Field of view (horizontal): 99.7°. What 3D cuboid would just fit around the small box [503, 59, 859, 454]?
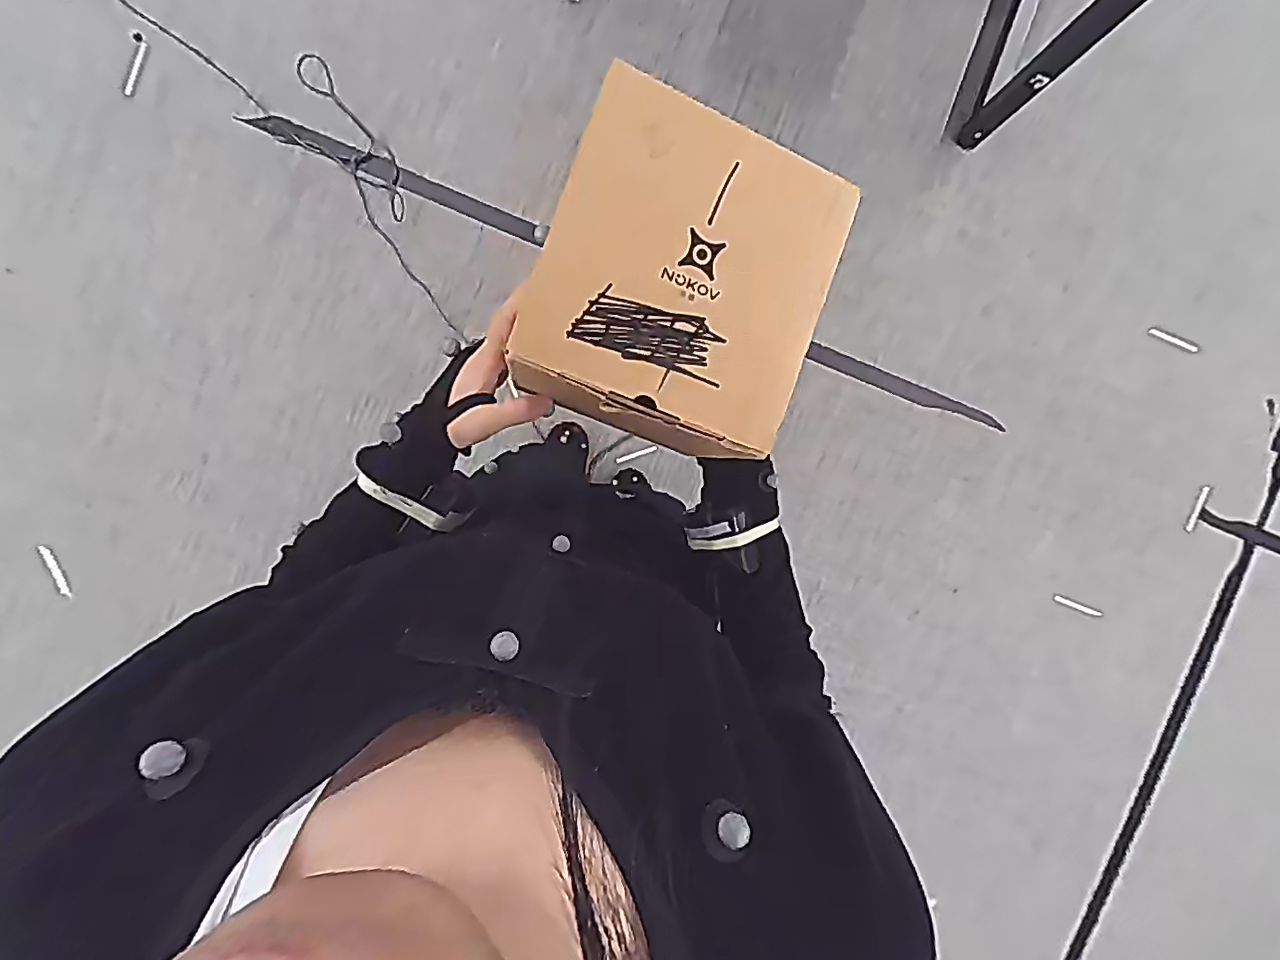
[{"bbox_3d":[0.014,-0.127,0.387,0.168,0.176,0.179,20,88,-12],"label":"small box"}]

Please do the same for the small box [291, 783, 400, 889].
[{"bbox_3d":[-0.769,0.919,1.426,0.179,0.176,0.168,15,94,-3],"label":"small box"}]
